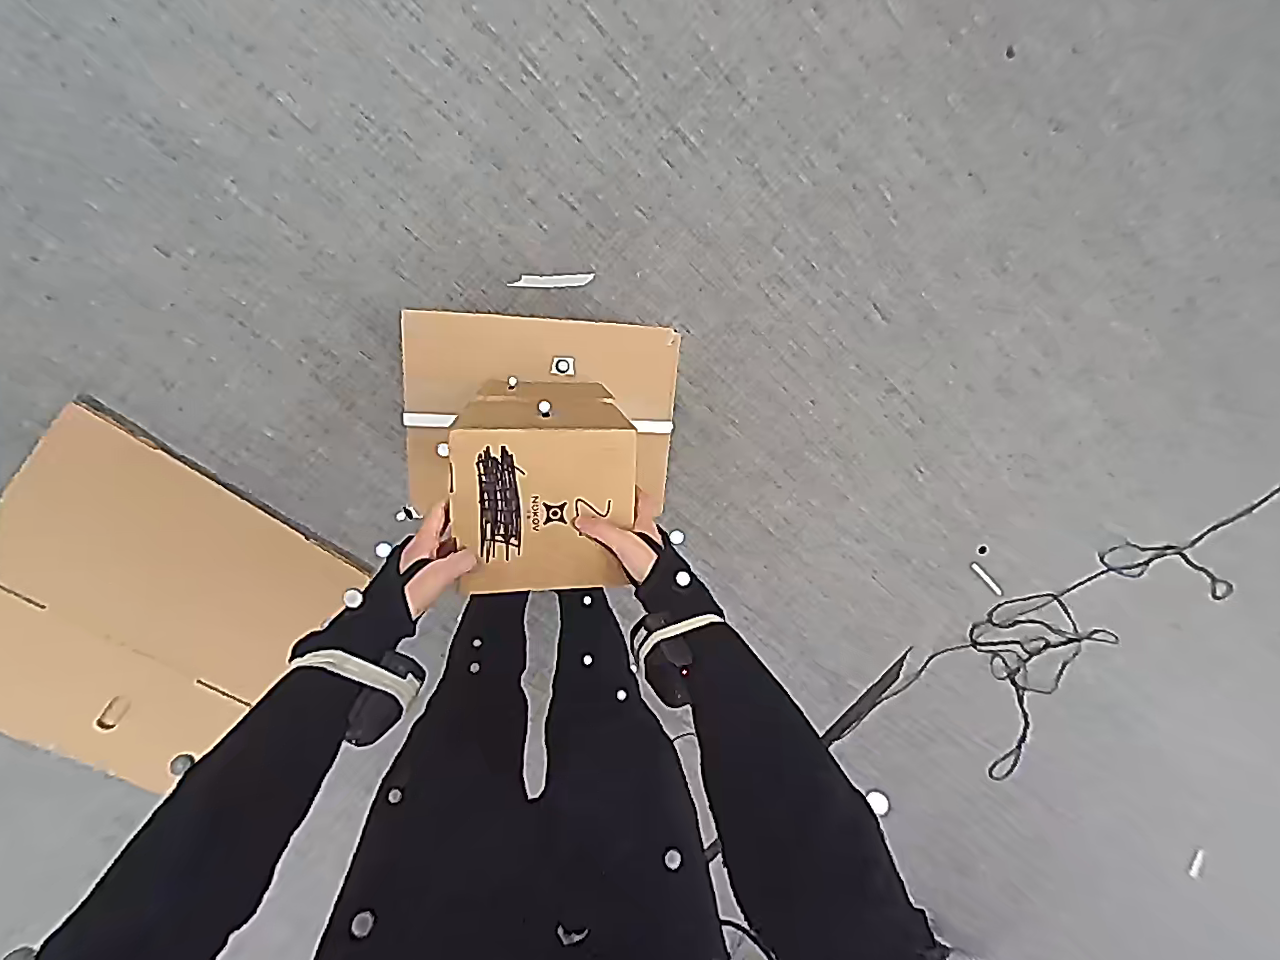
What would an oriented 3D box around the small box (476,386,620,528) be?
[{"bbox_3d":[-0.127,-0.039,0.758,0.179,0.176,0.168,-2,107,-11],"label":"small box"}]
